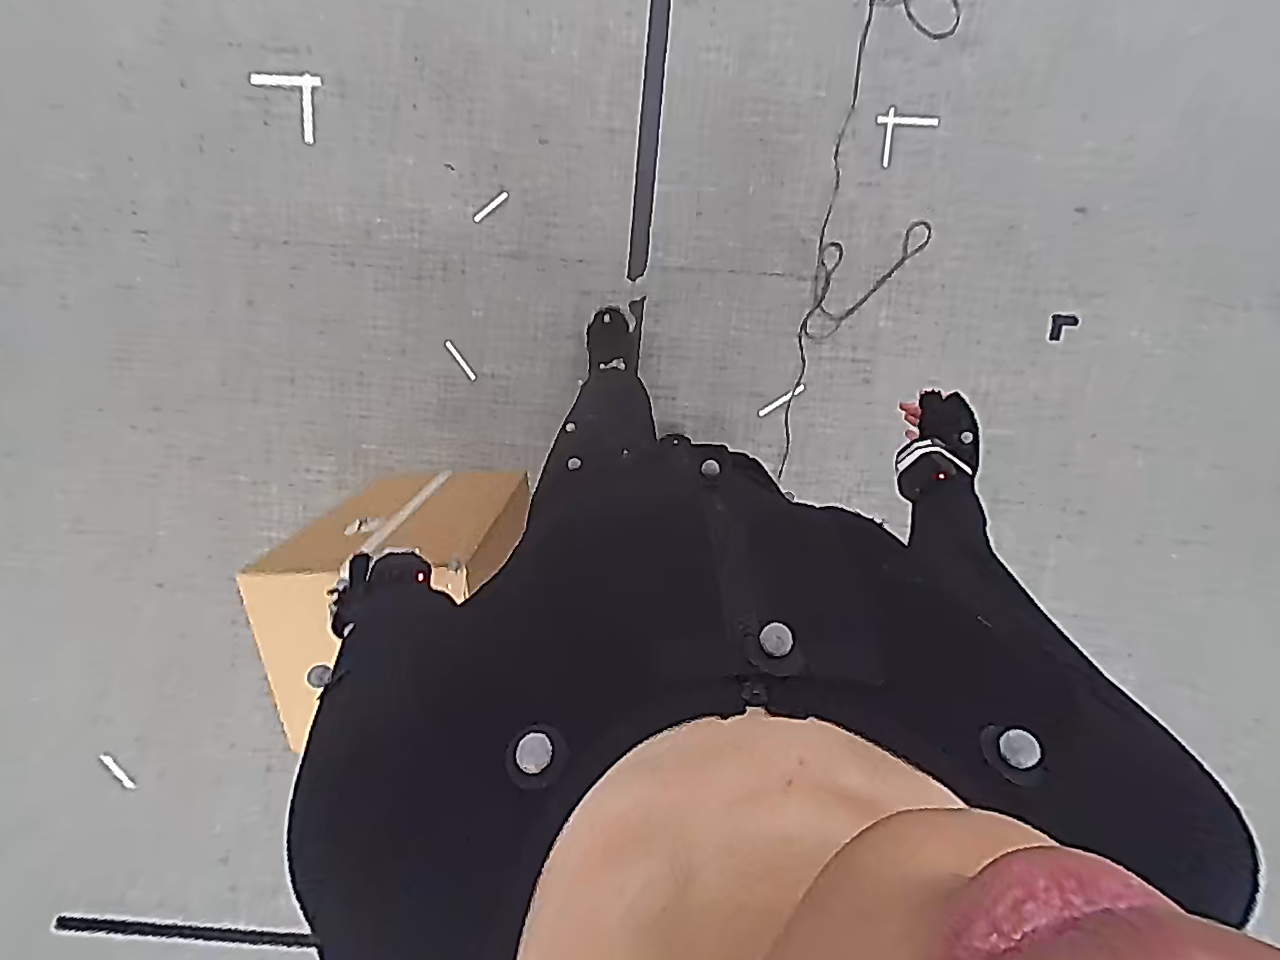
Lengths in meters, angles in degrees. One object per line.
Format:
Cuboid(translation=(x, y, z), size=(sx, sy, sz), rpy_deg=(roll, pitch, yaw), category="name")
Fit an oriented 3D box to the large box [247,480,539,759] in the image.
Cuboid(translation=(-0.375, 0.212, 0.959), size=(0.320, 0.408, 0.320), rpy_deg=(-5, 108, 1), category="large box")
